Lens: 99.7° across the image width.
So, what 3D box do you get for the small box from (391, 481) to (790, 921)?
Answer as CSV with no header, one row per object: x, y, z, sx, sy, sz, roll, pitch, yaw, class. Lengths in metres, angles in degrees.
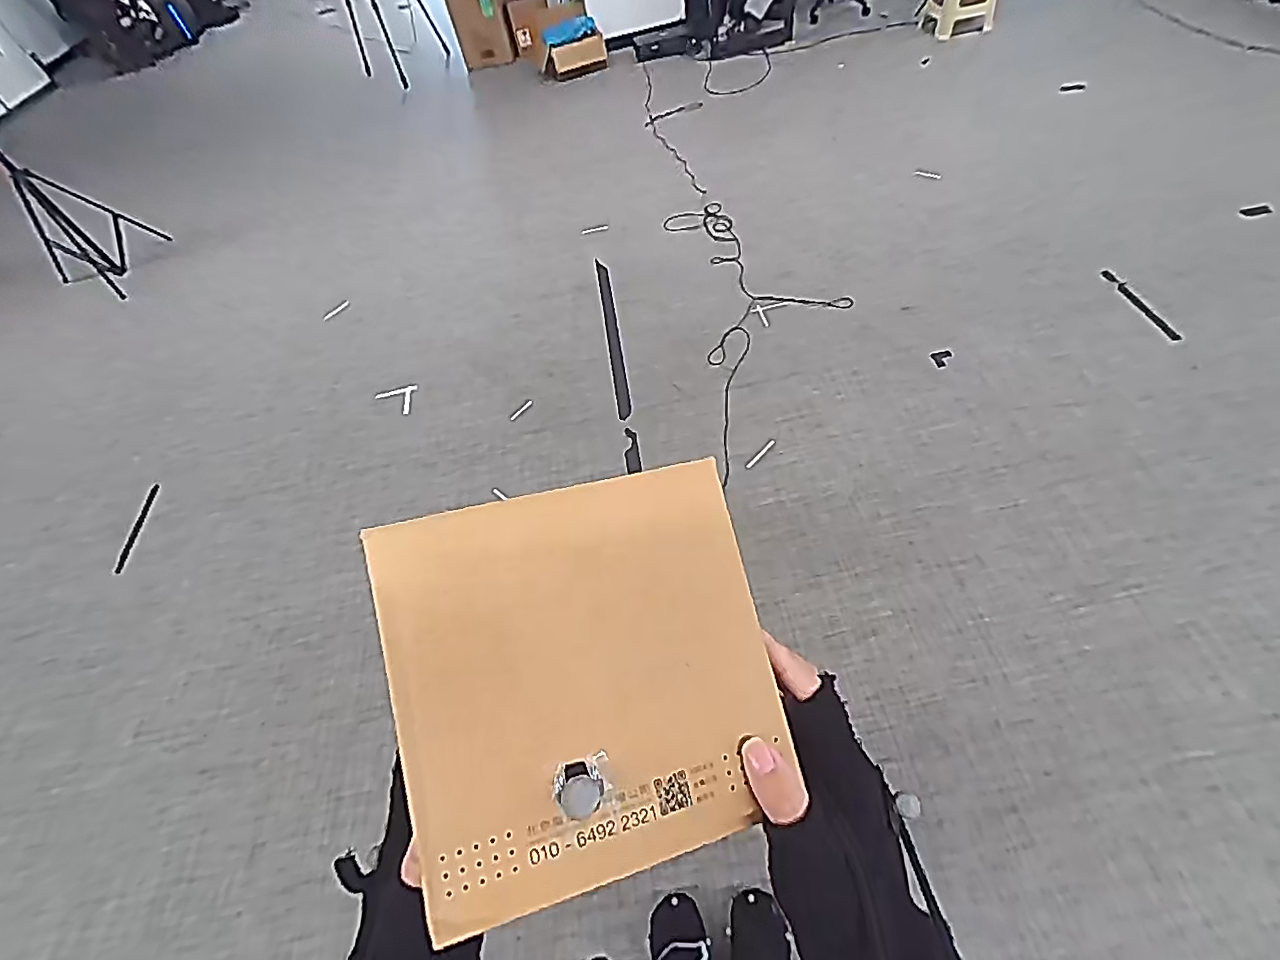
-0.035,0.112,0.332,0.168,0.179,0.176,-12,81,-14,small box
